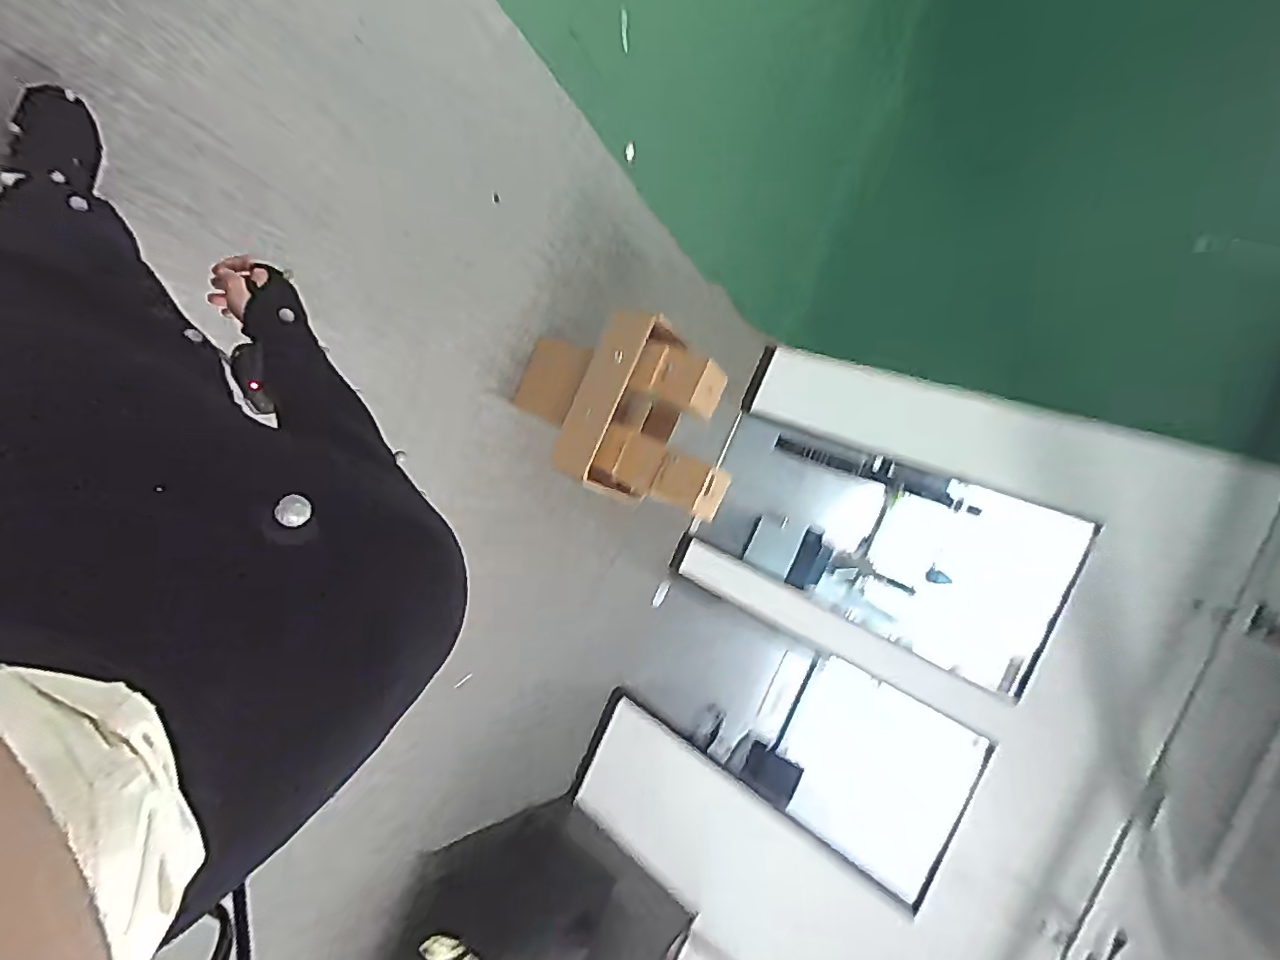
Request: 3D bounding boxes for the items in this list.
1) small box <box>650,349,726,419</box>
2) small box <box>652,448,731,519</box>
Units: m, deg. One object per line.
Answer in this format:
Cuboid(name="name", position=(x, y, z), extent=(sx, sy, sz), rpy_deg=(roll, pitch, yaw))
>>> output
Cuboid(name="small box", position=(0.165, -0.331, 1.851), extent=(0.179, 0.176, 0.168), rpy_deg=(28, 86, -58))
Cuboid(name="small box", position=(0.165, 0.008, 1.765), extent=(0.179, 0.176, 0.168), rpy_deg=(27, 89, -58))
